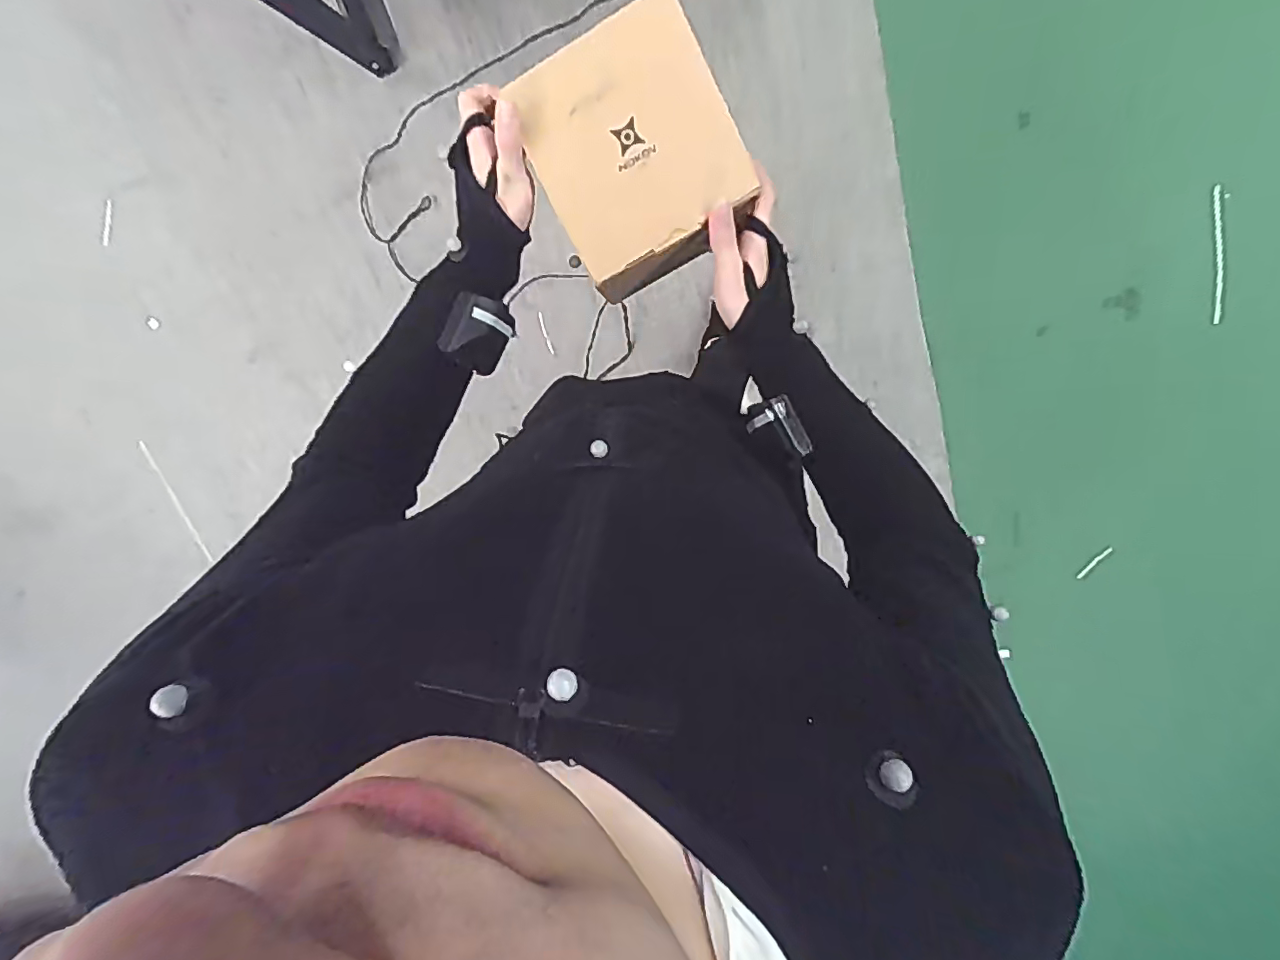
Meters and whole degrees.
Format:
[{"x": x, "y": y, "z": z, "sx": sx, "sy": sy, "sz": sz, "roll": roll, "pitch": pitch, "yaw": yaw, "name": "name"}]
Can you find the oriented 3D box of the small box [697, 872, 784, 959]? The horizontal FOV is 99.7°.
[{"x": 0.242, "y": 1.076, "z": 1.294, "sx": 0.168, "sy": 0.176, "sz": 0.179, "roll": -16, "pitch": 104, "yaw": 15, "name": "small box"}]
